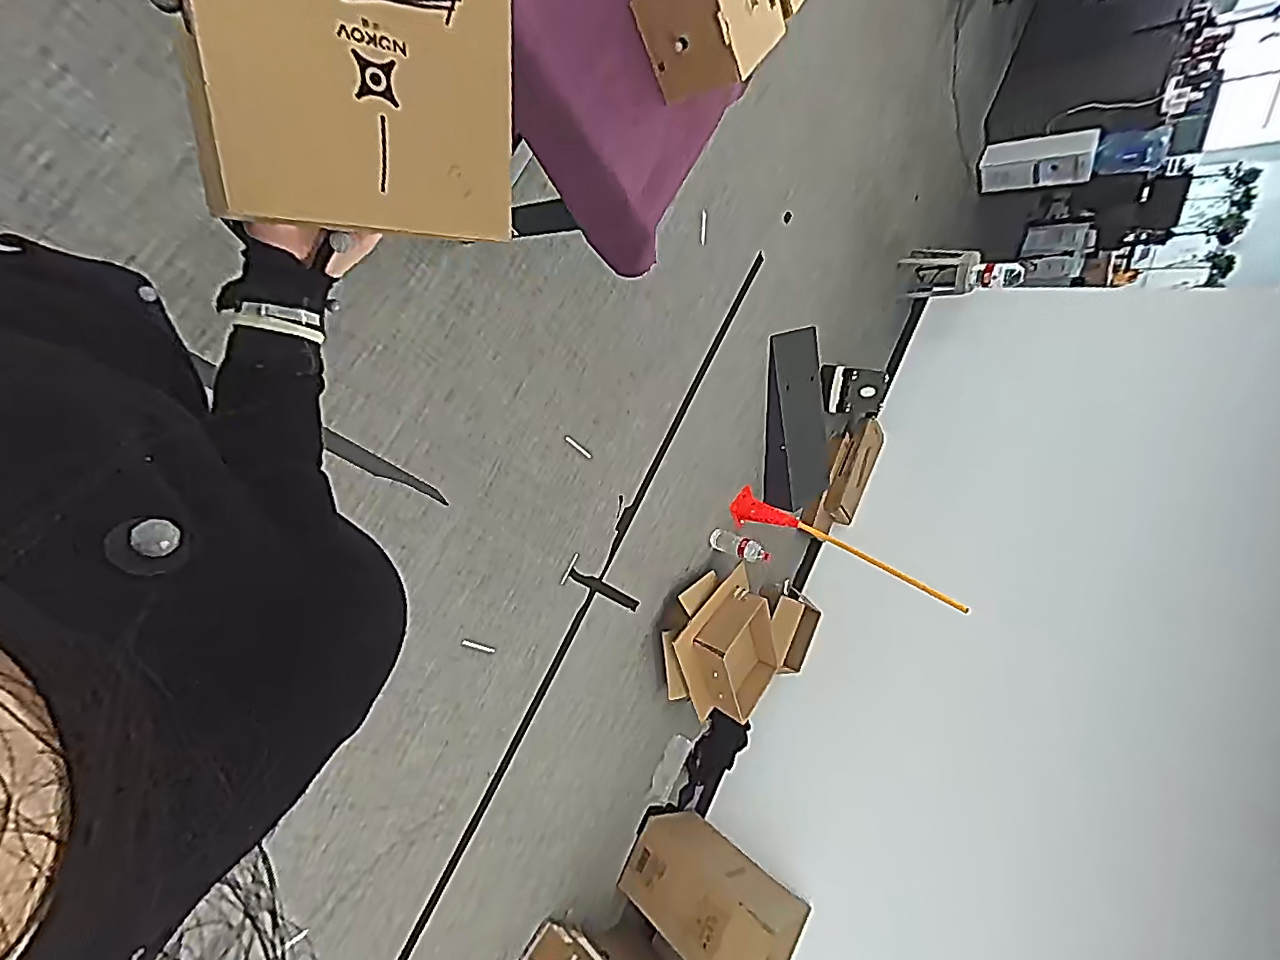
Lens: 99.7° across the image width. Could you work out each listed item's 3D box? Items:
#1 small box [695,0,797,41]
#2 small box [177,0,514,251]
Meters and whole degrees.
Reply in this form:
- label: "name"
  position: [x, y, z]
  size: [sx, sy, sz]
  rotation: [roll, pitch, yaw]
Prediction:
- label: "small box"
  position: [0.202, -0.963, 0.991]
  size: [0.179, 0.176, 0.168]
  rotation: [-61, 139, -15]
- label: "small box"
  position: [-0.200, -0.262, 0.372]
  size: [0.168, 0.176, 0.179]
  rotation: [-12, 118, -37]
